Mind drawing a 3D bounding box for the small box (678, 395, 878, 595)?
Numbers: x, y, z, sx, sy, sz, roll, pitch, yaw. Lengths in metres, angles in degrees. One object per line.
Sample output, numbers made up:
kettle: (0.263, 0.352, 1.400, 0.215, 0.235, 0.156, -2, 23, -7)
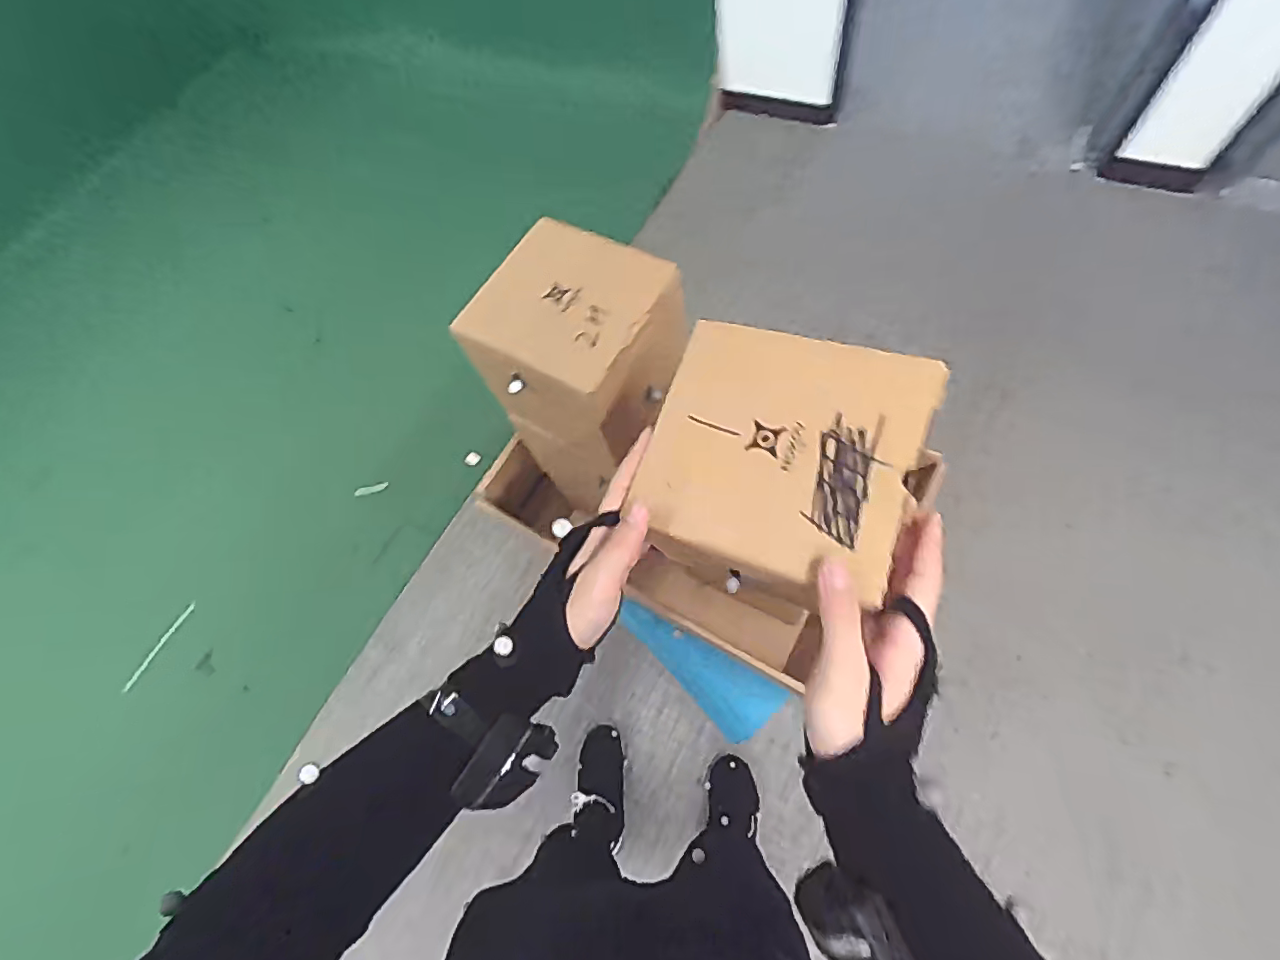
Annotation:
small box: (0.167, 0.026, 0.672, 0.179, 0.176, 0.168, 21, 72, 20)

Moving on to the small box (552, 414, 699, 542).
small box: (-0.015, -0.015, 0.911, 0.179, 0.176, 0.168, 26, 73, 18)

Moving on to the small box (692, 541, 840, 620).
small box: (0.198, 0.094, 0.817, 0.179, 0.176, 0.168, 22, 72, 21)

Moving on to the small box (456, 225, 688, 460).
small box: (-0.062, -0.146, 0.612, 0.179, 0.176, 0.168, 27, 74, 20)
